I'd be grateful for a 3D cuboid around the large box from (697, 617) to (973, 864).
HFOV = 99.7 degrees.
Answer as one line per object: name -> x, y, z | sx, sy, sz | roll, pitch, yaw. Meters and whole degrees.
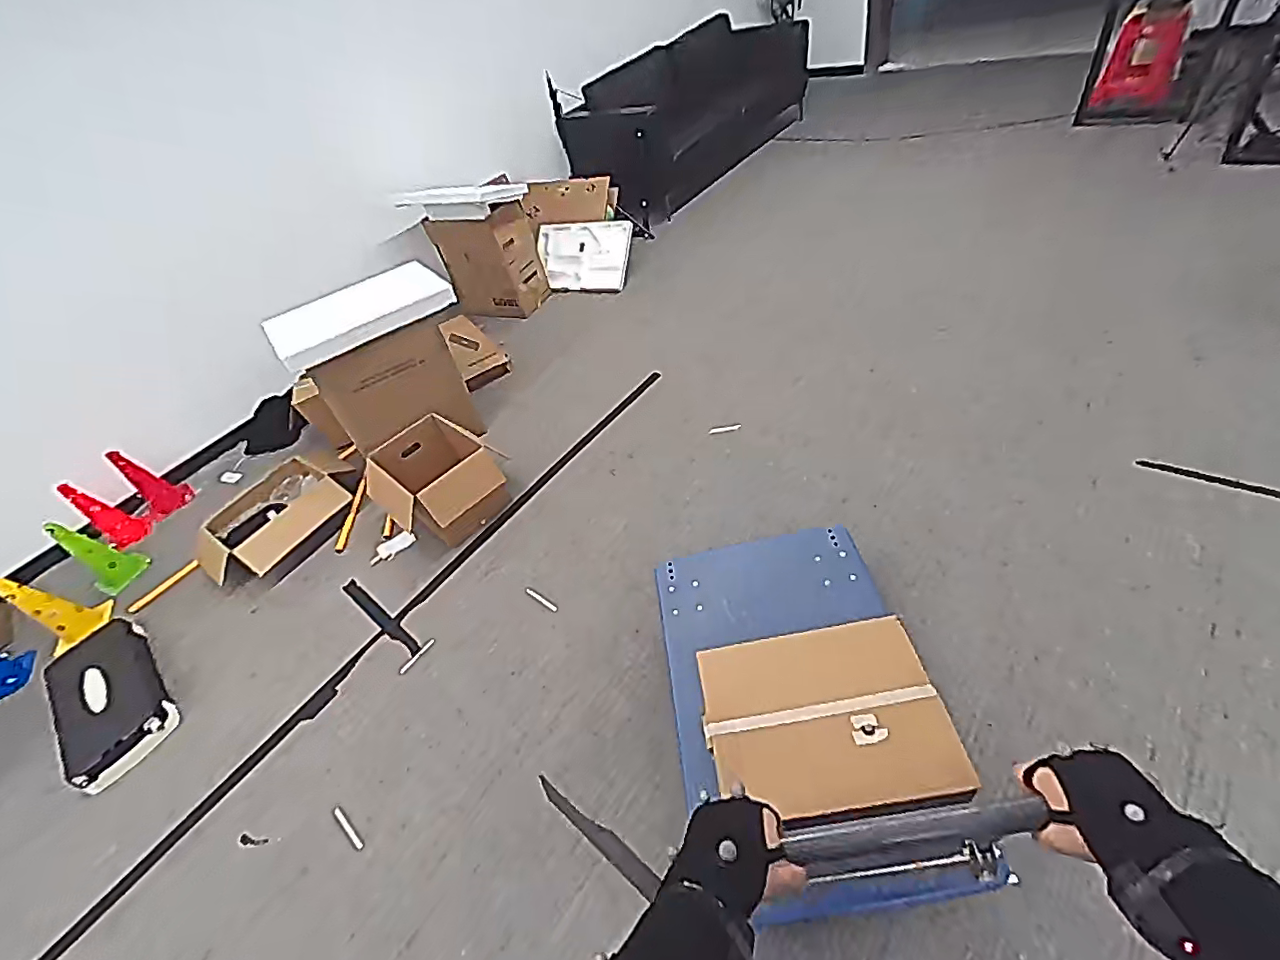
large box -> 0.349, 0.521, 1.075 | 0.408, 0.320, 0.320 | -11, 45, 4
